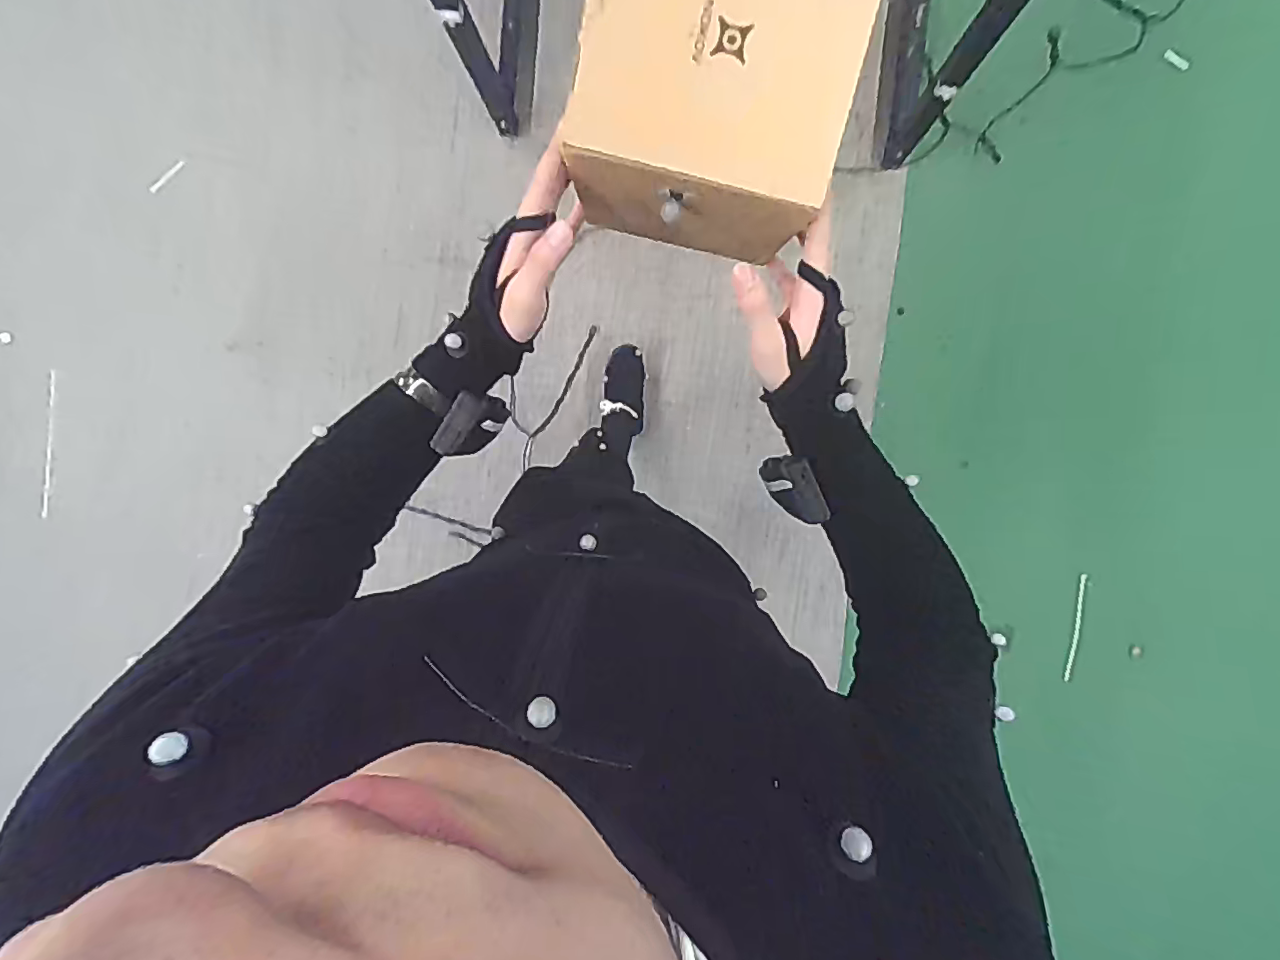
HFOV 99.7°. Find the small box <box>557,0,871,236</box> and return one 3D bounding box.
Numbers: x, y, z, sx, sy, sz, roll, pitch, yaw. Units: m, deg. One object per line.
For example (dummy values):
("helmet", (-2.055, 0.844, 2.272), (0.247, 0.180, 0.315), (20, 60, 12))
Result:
("small box", (0.052, -0.301, 0.409), (0.179, 0.176, 0.168), (13, 100, 0))
